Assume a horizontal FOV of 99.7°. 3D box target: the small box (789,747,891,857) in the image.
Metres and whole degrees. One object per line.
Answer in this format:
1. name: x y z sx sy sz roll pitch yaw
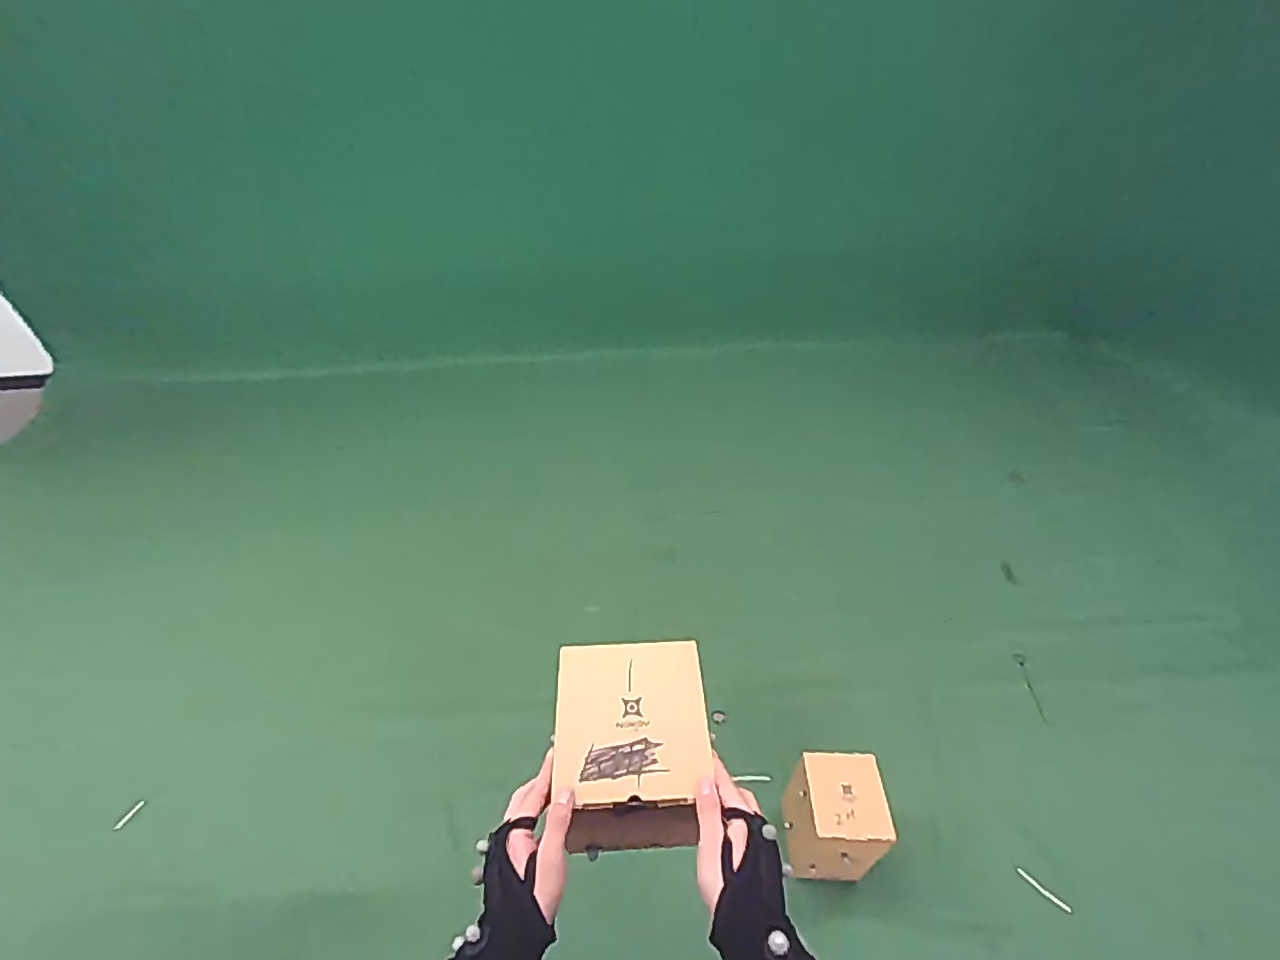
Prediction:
1. small box: 0.450 0.744 1.251 0.168 0.176 0.179 1 43 3

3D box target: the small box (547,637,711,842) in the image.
1. small box: -0.012 0.310 0.641 0.168 0.176 0.179 -1 42 -2
